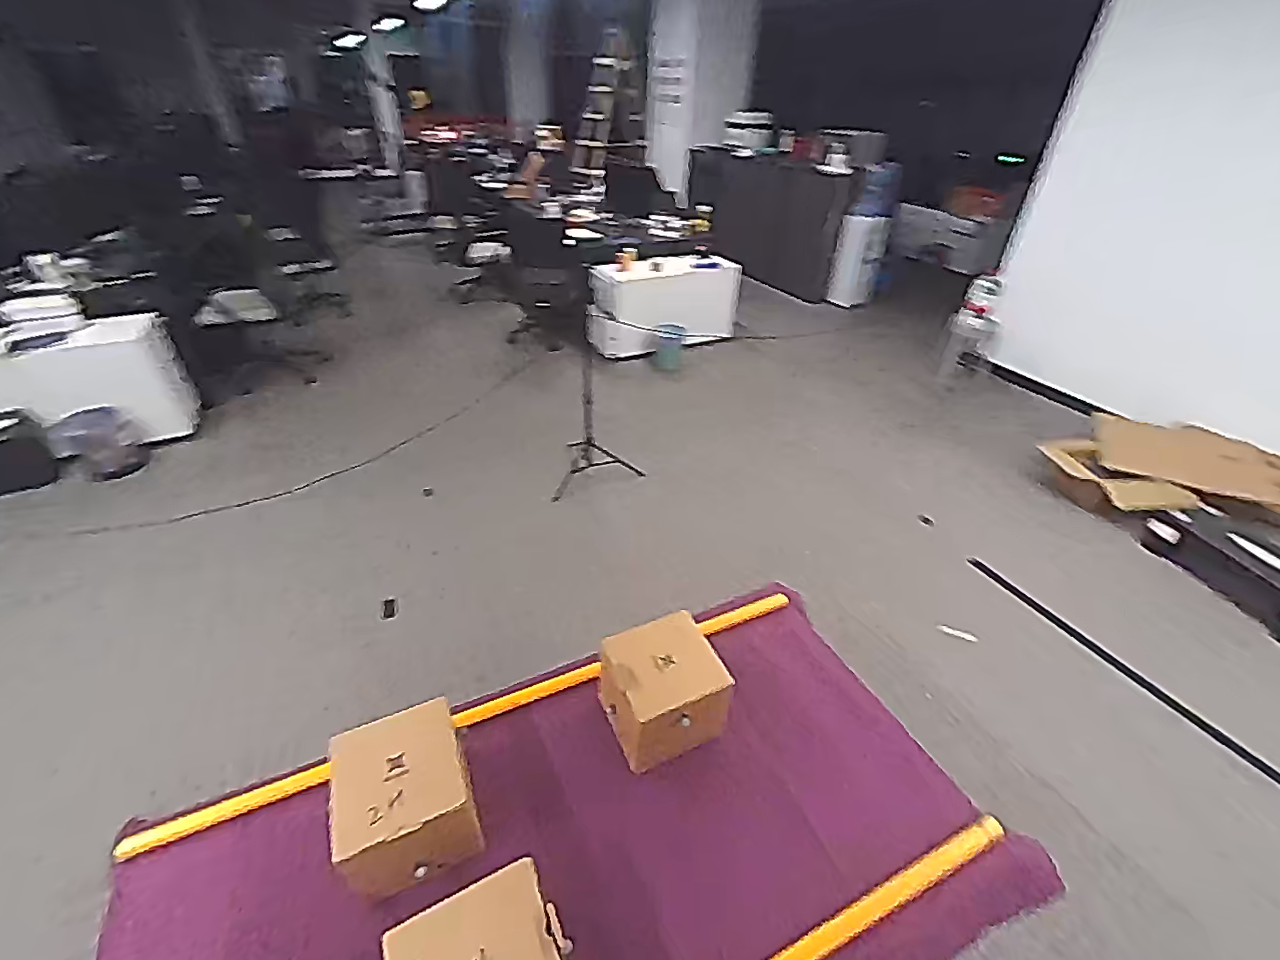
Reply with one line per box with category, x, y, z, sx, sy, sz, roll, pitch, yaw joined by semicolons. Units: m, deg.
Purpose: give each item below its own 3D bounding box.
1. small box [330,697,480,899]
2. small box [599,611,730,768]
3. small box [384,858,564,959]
small box;-0.346;0.468;0.804;0.168;0.176;0.179;-15;41;-21
small box;0.034;0.369;0.959;0.179;0.176;0.168;-15;40;-21
small box;-0.180;0.598;0.631;0.179;0.176;0.168;-15;39;-23
